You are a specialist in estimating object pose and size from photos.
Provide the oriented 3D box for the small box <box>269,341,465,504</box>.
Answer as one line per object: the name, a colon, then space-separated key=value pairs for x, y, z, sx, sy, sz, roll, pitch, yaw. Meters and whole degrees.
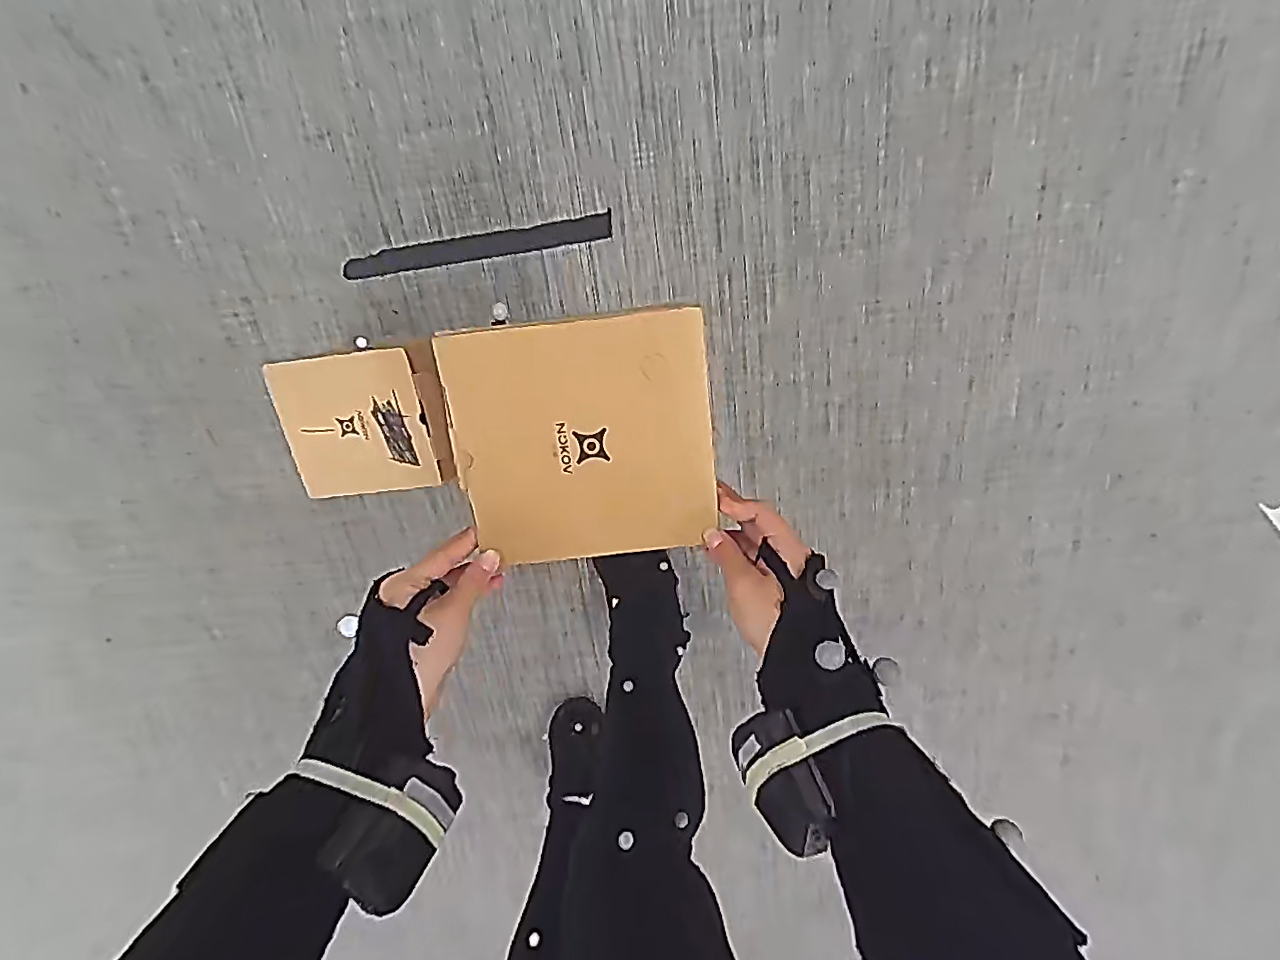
small box: x=-0.325 y=-0.083 z=0.709 sx=0.179 sy=0.176 sz=0.168 roll=-6 pitch=110 yaw=5

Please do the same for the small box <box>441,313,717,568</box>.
small box: x=-0.039 y=-0.045 z=0.454 sx=0.179 sy=0.176 sz=0.168 roll=-7 pitch=108 yaw=2
